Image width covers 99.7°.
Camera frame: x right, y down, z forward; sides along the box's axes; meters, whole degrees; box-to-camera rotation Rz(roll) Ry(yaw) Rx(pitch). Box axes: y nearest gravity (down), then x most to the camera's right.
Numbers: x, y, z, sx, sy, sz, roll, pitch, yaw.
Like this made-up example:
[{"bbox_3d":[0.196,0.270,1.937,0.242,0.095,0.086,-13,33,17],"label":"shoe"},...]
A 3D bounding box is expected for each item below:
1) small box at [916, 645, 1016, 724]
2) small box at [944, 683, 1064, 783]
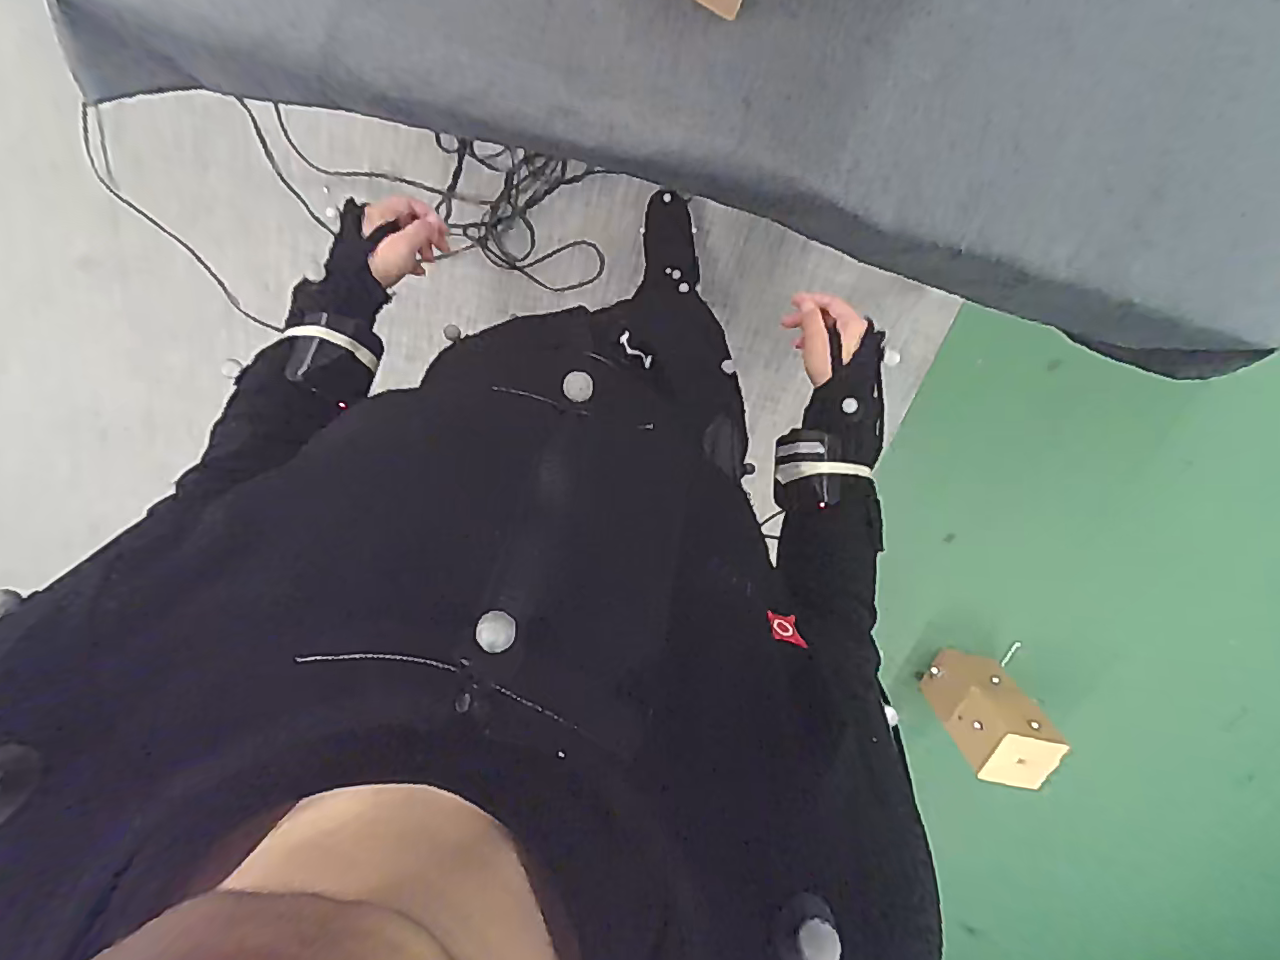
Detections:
[{"bbox_3d":[0.970,0.618,1.609,0.179,0.176,0.168,14,112,-5],"label":"small box"},{"bbox_3d":[0.967,0.675,1.456,0.179,0.176,0.168,13,113,-6],"label":"small box"}]
